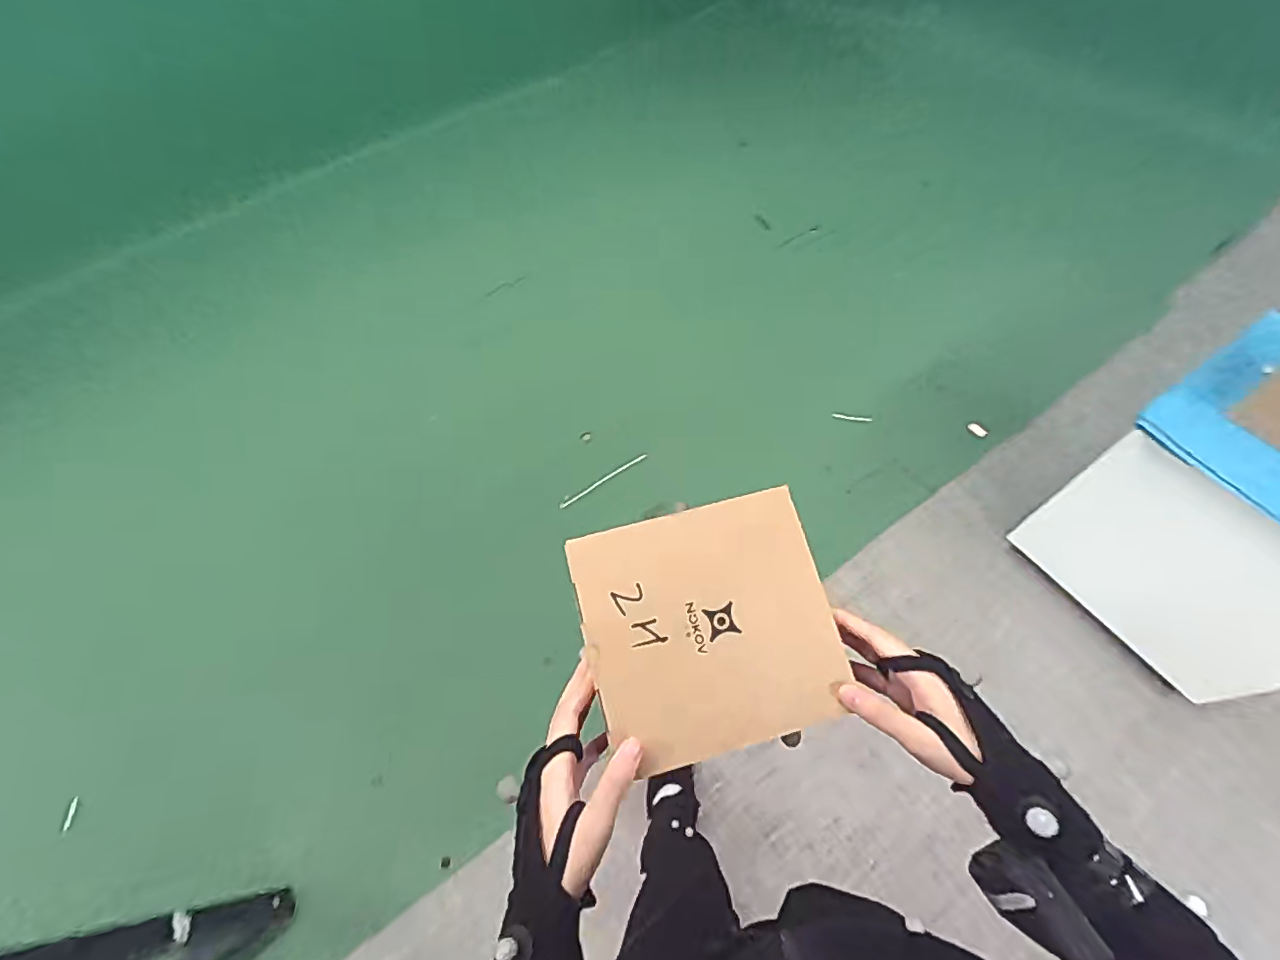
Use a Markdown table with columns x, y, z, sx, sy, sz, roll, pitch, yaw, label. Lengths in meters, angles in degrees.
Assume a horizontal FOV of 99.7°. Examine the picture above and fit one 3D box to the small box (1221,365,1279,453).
| x | y | z | sx | sy | sz | roll | pitch | yaw | label |
| --- | --- | --- | --- | --- | --- | --- | --- | --- | --- |
| 1.133 | -0.136 | 0.870 | 0.168 | 0.176 | 0.179 | -32 | 60 | -14 | small box |
